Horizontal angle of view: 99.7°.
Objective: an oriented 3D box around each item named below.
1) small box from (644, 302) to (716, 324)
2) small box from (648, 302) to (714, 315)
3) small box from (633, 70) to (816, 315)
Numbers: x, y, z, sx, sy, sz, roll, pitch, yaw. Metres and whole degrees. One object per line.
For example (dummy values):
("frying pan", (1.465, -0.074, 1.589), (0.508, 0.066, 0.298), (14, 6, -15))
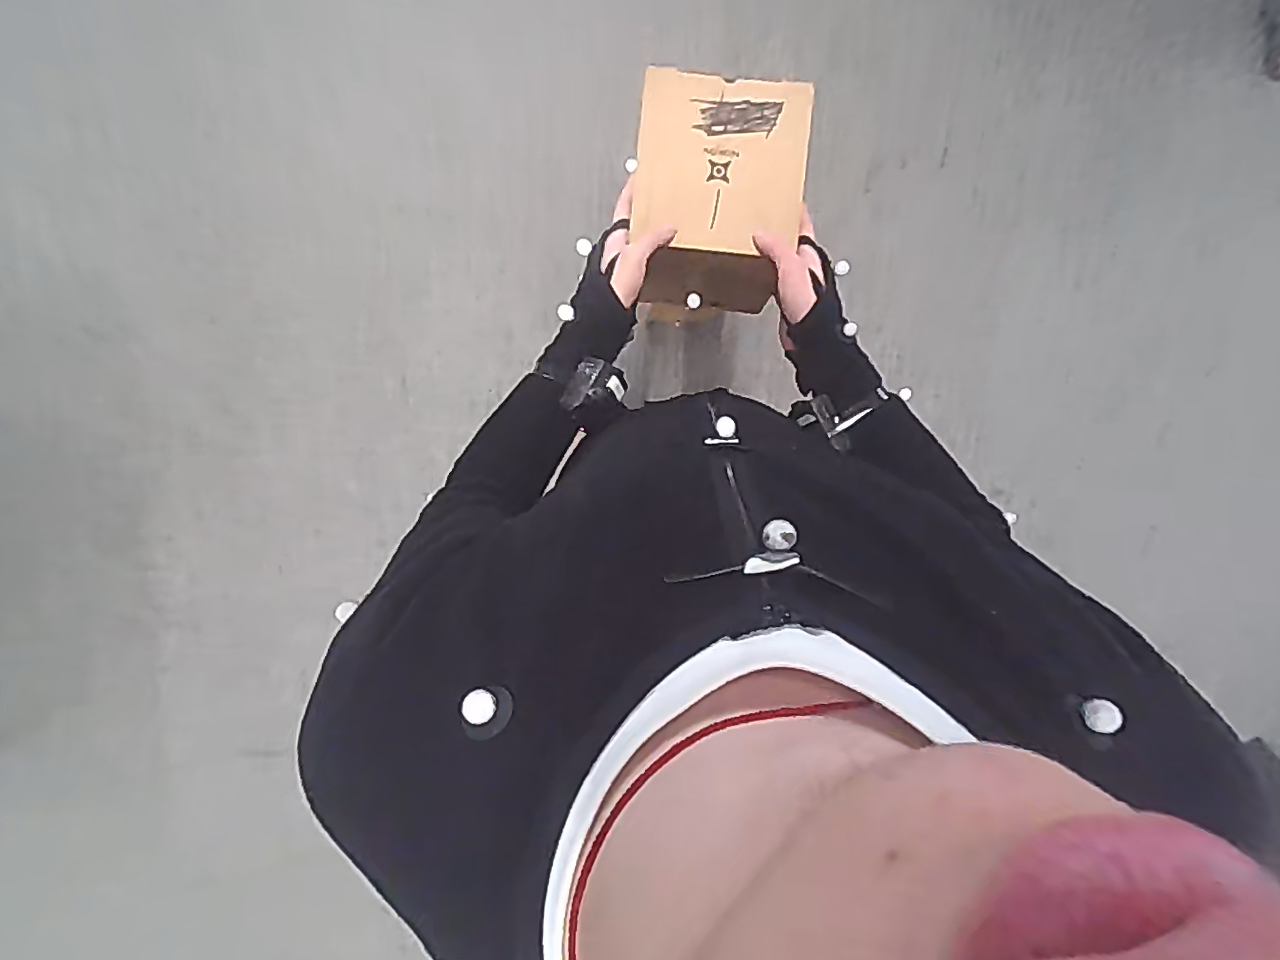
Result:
("small box", (0.105, -0.509, 1.418), (0.179, 0.176, 0.168), (3, 97, -3))
("small box", (0.111, -0.485, 1.257), (0.179, 0.176, 0.168), (2, 98, -3))
("small box", (0.082, -0.305, 0.606), (0.168, 0.176, 0.179), (6, 90, 0))
